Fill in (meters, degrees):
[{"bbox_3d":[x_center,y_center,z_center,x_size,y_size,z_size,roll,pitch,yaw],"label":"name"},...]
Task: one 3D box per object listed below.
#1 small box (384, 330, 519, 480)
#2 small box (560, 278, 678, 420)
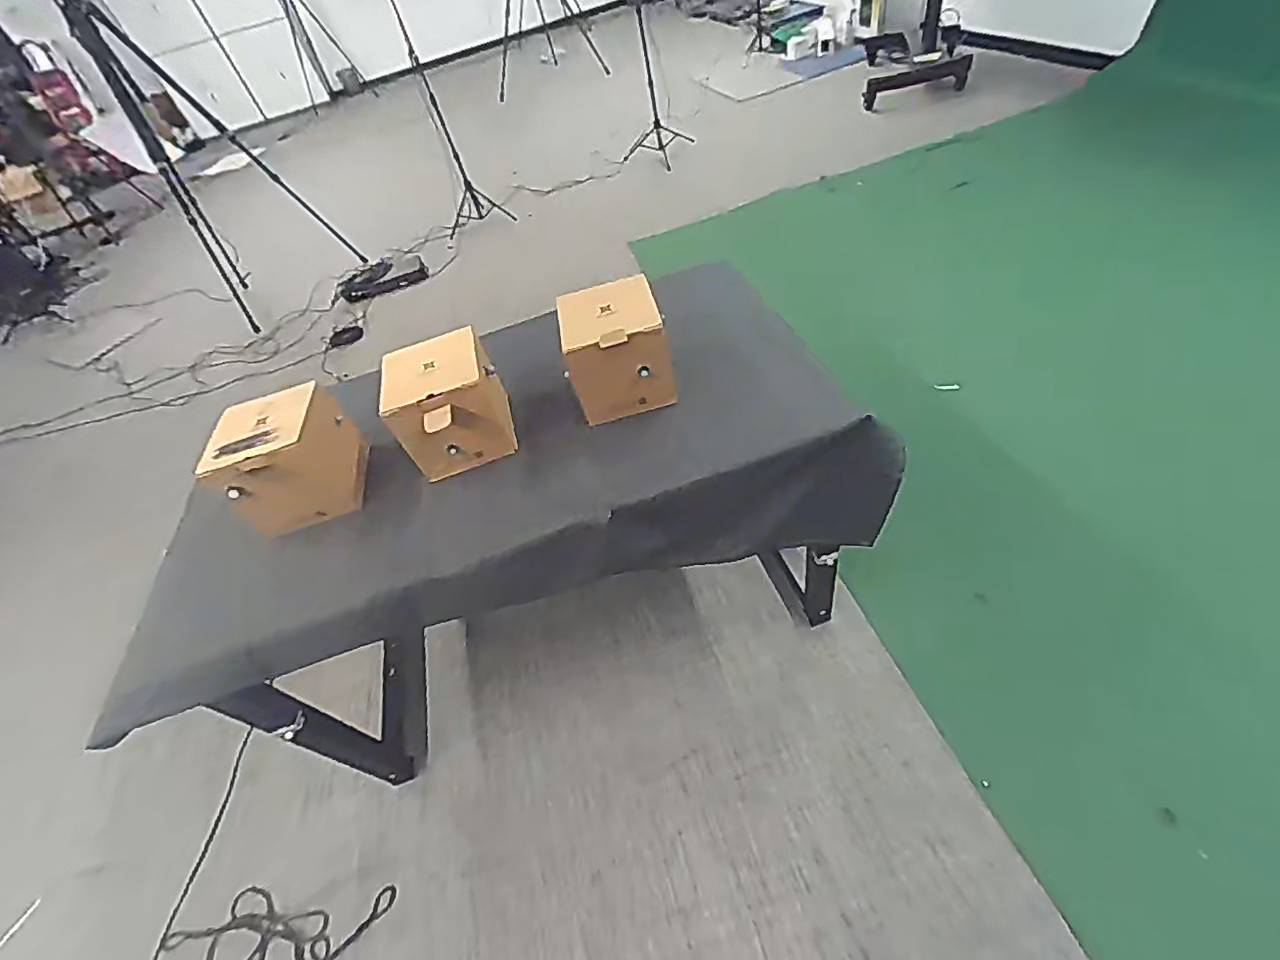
[{"bbox_3d":[-0.328,-0.131,0.959,0.168,0.176,0.179,-20,48,-3],"label":"small box"},{"bbox_3d":[-0.036,-0.224,0.960,0.168,0.176,0.179,-14,46,1],"label":"small box"}]
